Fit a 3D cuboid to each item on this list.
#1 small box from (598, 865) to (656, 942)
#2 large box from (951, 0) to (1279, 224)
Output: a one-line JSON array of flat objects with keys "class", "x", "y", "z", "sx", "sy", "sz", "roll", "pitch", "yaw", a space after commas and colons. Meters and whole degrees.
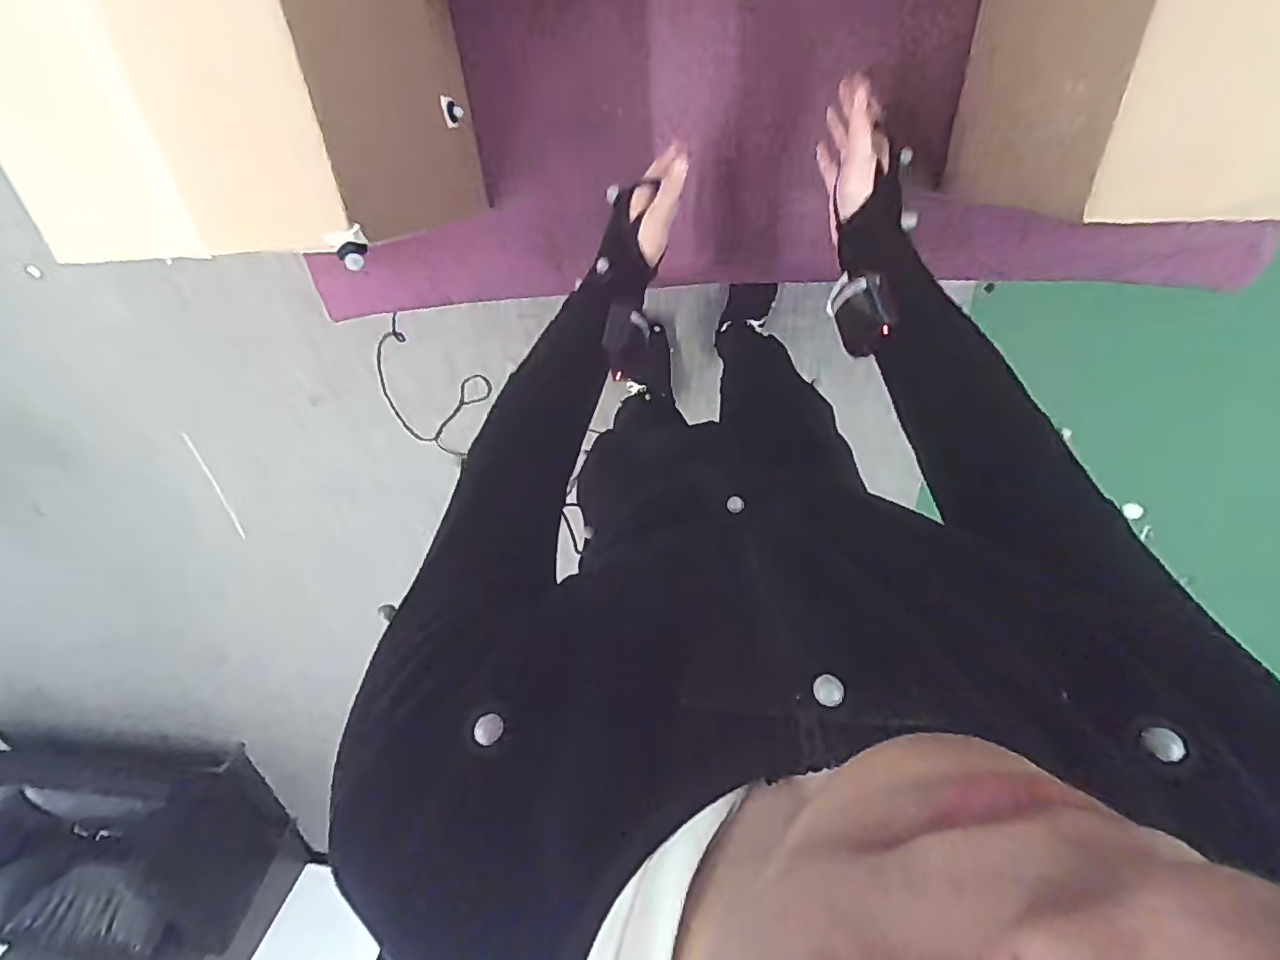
[{"class": "small box", "x": -0.041, "y": 1.486, "z": 1.901, "sx": 0.168, "sy": 0.176, "sz": 0.179, "roll": -3, "pitch": 123, "yaw": 11}, {"class": "large box", "x": 0.476, "y": -0.428, "z": 0.384, "sx": 0.320, "sy": 0.320, "sz": 0.408, "roll": 2, "pitch": 122, "yaw": 9}]
